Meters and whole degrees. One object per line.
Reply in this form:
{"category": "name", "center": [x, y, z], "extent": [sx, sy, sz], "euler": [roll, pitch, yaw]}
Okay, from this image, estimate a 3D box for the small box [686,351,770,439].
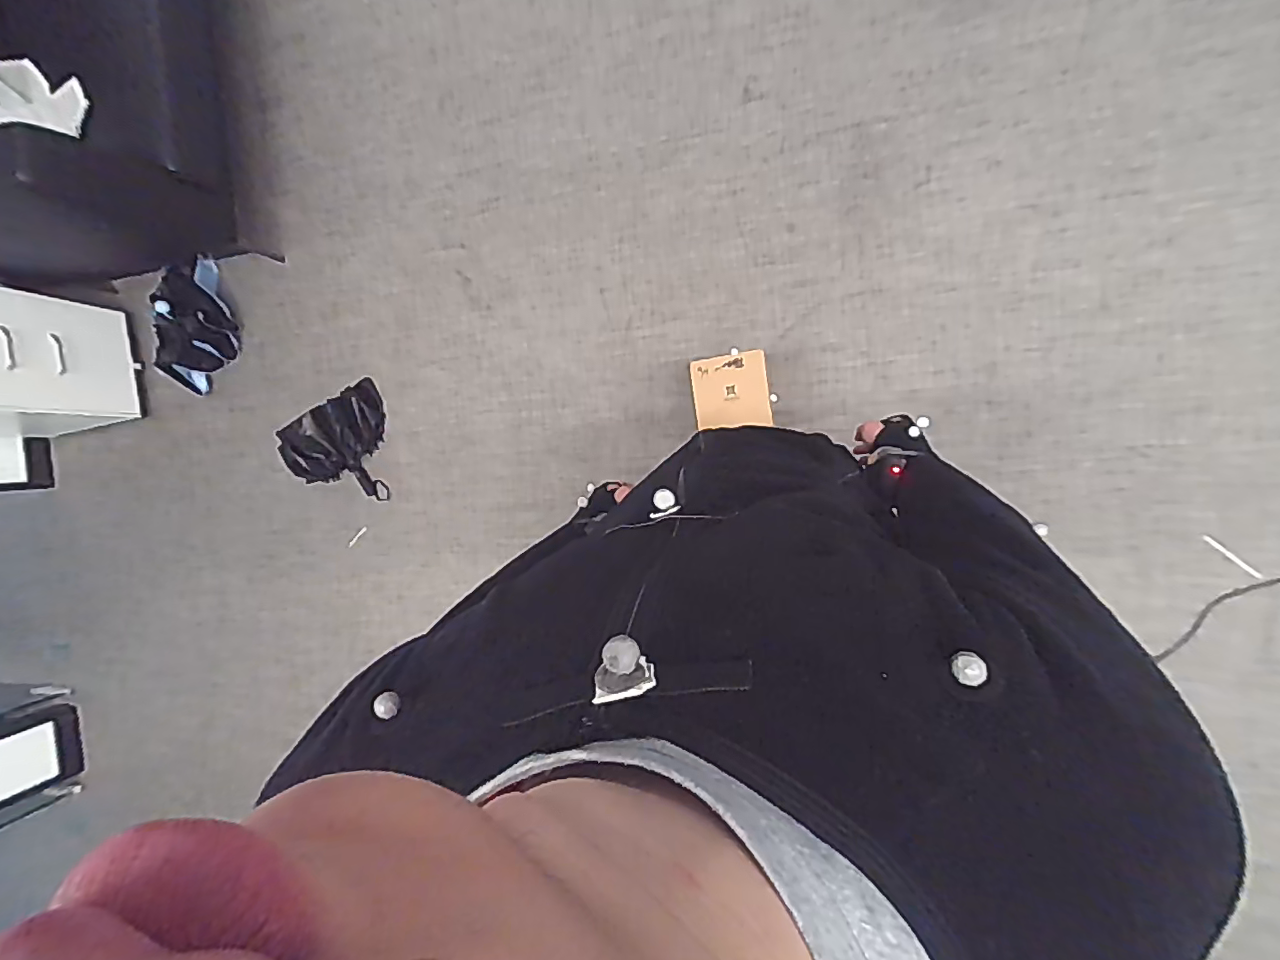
{"category": "small box", "center": [0.214, -0.195, 1.282], "extent": [0.168, 0.176, 0.179], "euler": [-7, 92, 15]}
